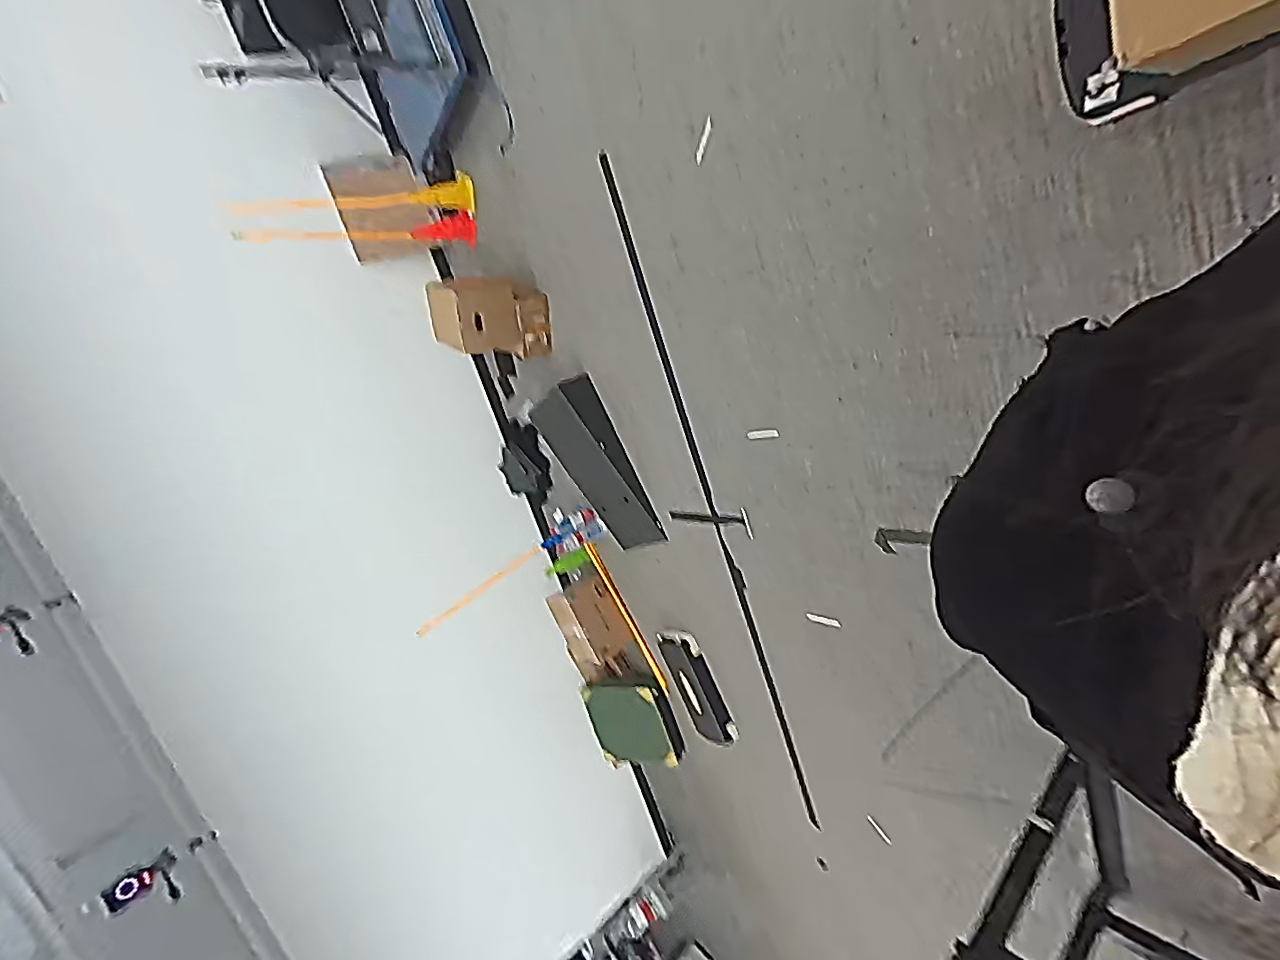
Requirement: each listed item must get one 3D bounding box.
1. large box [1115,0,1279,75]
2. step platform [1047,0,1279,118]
[{"bbox_3d":[0.795,-0.710,0.566,0.408,0.320,0.320,2,112,56],"label":"large box"},{"bbox_3d":[0.968,-0.774,0.720,0.684,0.204,0.286,9,119,54],"label":"step platform"}]
